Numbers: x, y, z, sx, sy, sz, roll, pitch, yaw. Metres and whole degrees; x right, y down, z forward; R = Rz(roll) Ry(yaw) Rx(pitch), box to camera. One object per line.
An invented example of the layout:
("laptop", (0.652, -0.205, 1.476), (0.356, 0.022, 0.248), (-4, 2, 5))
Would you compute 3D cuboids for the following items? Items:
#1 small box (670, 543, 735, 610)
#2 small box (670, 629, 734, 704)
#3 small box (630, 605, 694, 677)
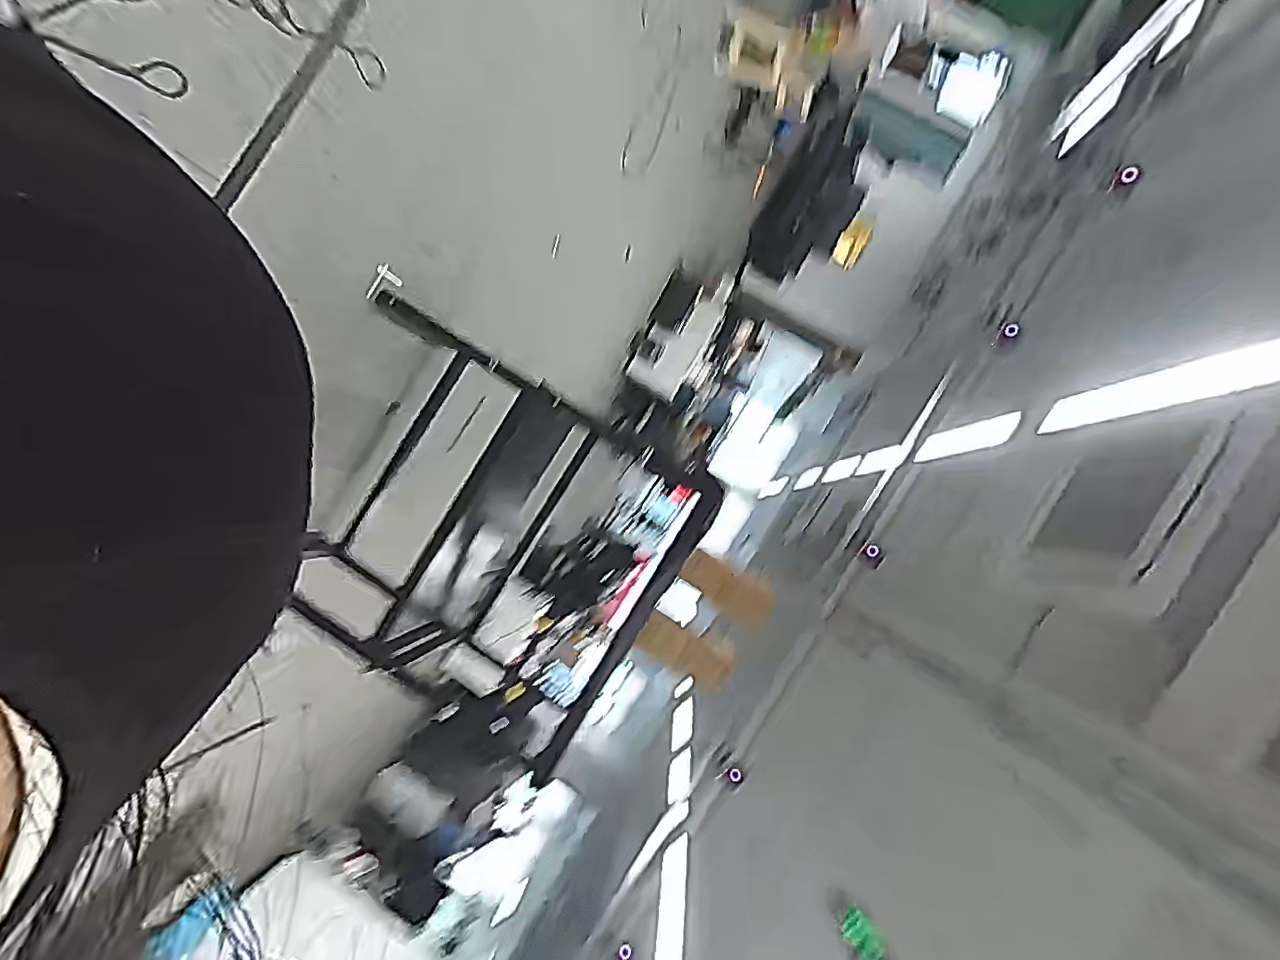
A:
("small box", (0.220, 0.338, 1.943), (0.168, 0.176, 0.179), (-57, 175, 1))
("small box", (0.214, 0.659, 1.932), (0.168, 0.176, 0.179), (-57, 175, -1))
("small box", (0.076, 0.570, 1.943), (0.168, 0.176, 0.179), (-58, 176, -2))
